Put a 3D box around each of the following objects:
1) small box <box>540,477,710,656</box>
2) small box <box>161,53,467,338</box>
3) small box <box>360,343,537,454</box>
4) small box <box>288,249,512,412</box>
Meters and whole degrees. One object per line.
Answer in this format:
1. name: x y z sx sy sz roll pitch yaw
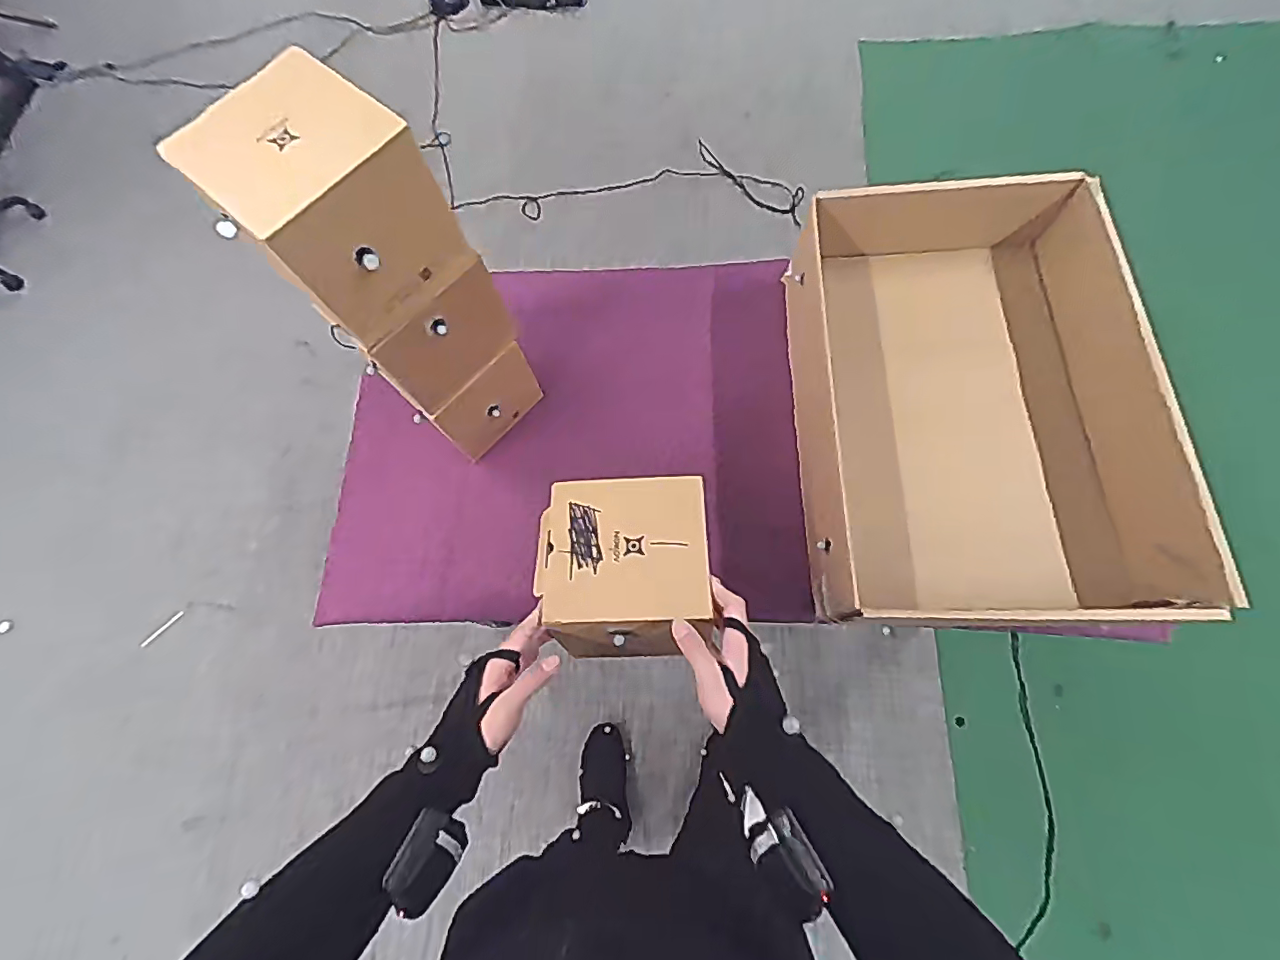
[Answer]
1. small box: -0.009 0.111 0.651 0.179 0.176 0.168 -3 61 3
2. small box: -0.314 -0.276 0.560 0.179 0.176 0.168 39 78 15
3. small box: -0.291 -0.162 0.863 0.179 0.176 0.168 40 77 16
4. small box: -0.298 -0.221 0.711 0.168 0.176 0.179 41 78 15
